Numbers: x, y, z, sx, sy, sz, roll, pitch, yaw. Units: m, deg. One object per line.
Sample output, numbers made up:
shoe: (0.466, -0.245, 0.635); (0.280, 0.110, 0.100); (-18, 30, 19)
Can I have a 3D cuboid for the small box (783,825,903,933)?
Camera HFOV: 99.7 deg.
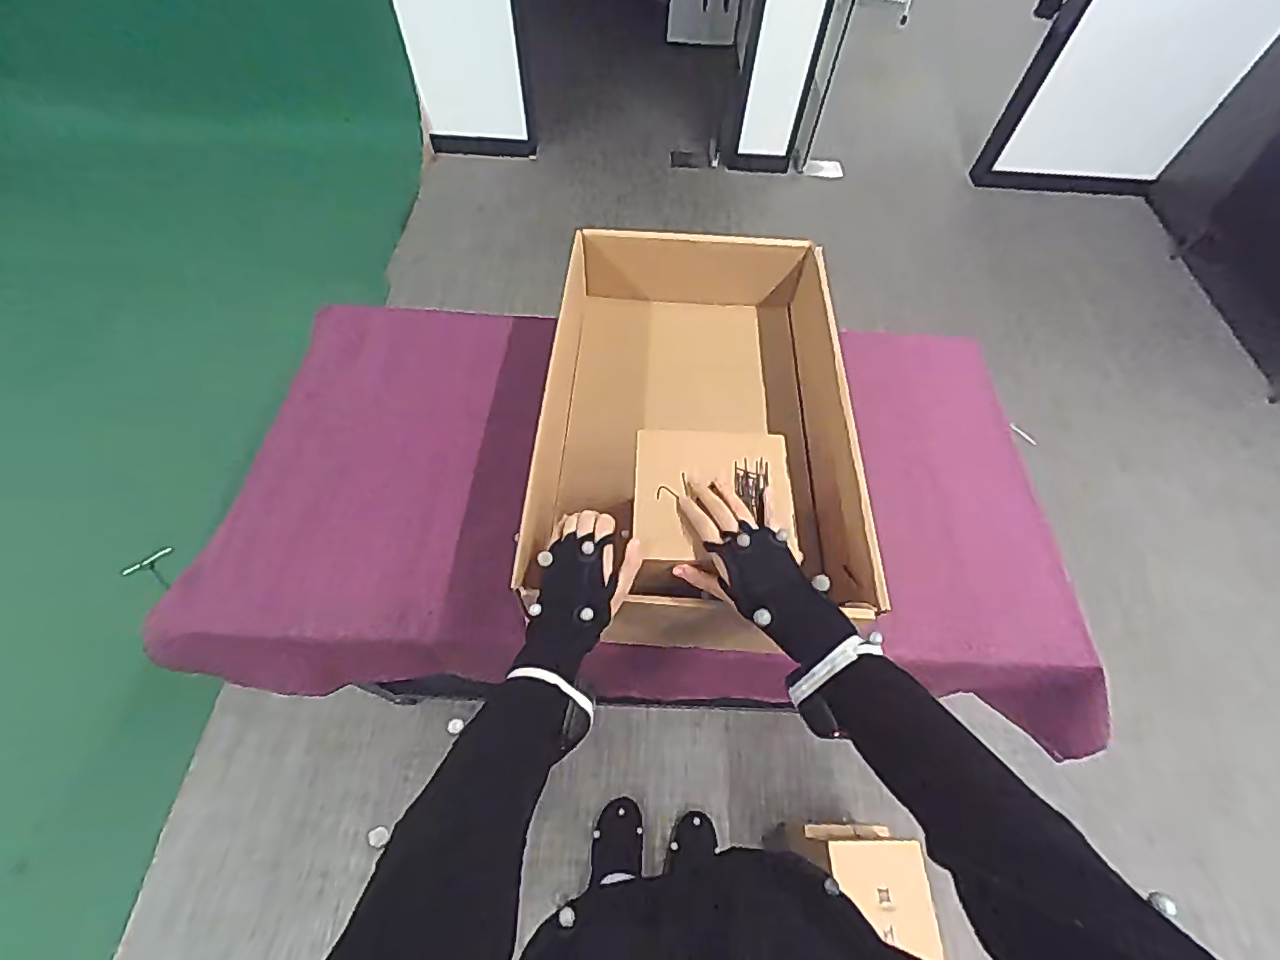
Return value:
small box: (0.413, 0.825, 1.131); (0.179, 0.176, 0.168); (1, 59, -1)
